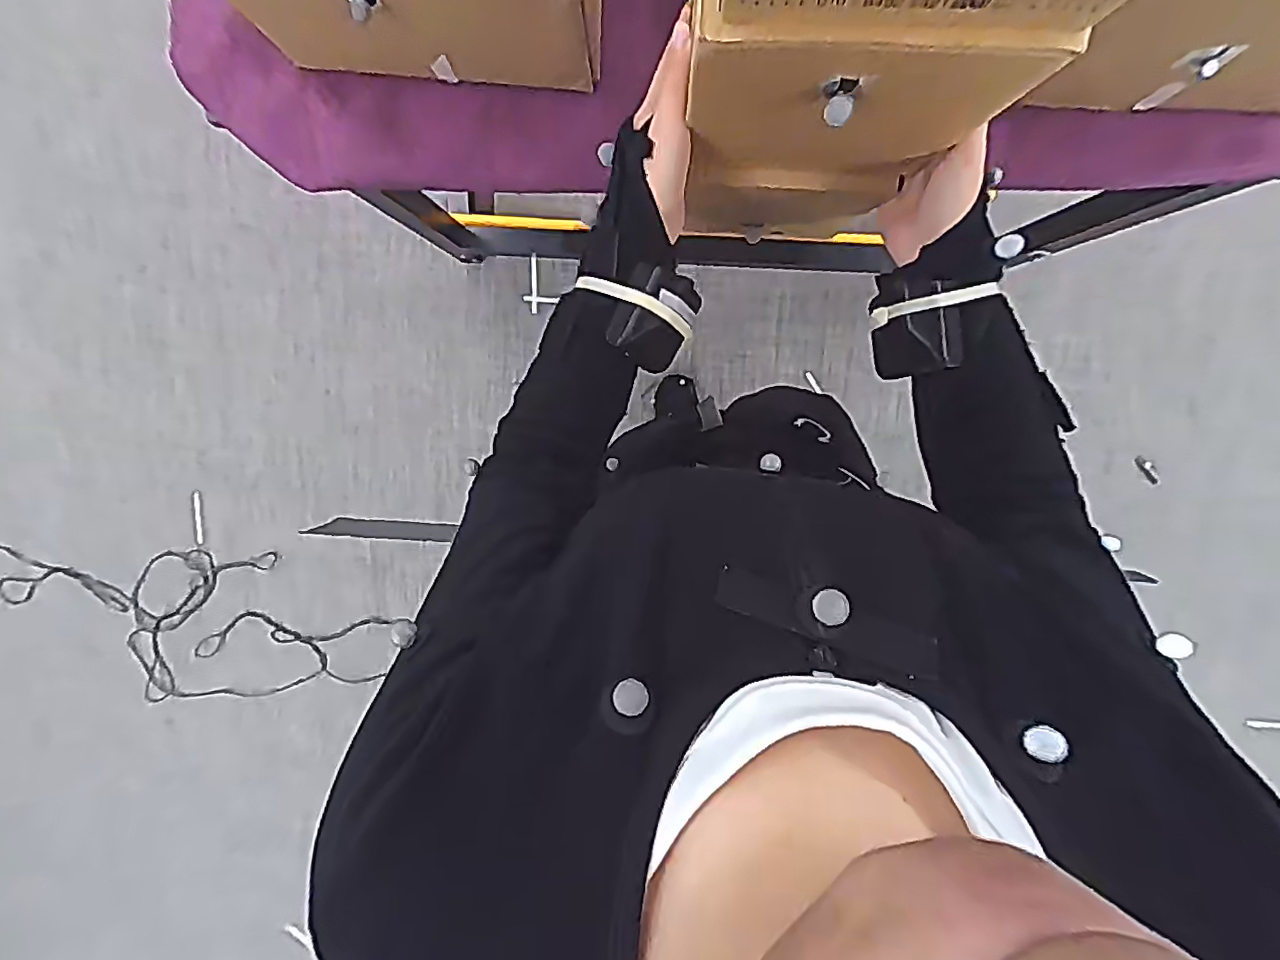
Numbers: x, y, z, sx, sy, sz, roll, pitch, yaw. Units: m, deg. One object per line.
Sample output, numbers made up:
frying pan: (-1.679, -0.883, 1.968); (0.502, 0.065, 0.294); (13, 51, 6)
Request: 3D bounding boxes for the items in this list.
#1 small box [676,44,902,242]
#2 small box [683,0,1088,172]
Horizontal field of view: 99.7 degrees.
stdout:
small box: (0.120, -0.320, 0.465); (0.168, 0.176, 0.179); (4, 104, 2)
small box: (0.119, -0.291, 0.306); (0.179, 0.176, 0.168); (3, 103, 3)
